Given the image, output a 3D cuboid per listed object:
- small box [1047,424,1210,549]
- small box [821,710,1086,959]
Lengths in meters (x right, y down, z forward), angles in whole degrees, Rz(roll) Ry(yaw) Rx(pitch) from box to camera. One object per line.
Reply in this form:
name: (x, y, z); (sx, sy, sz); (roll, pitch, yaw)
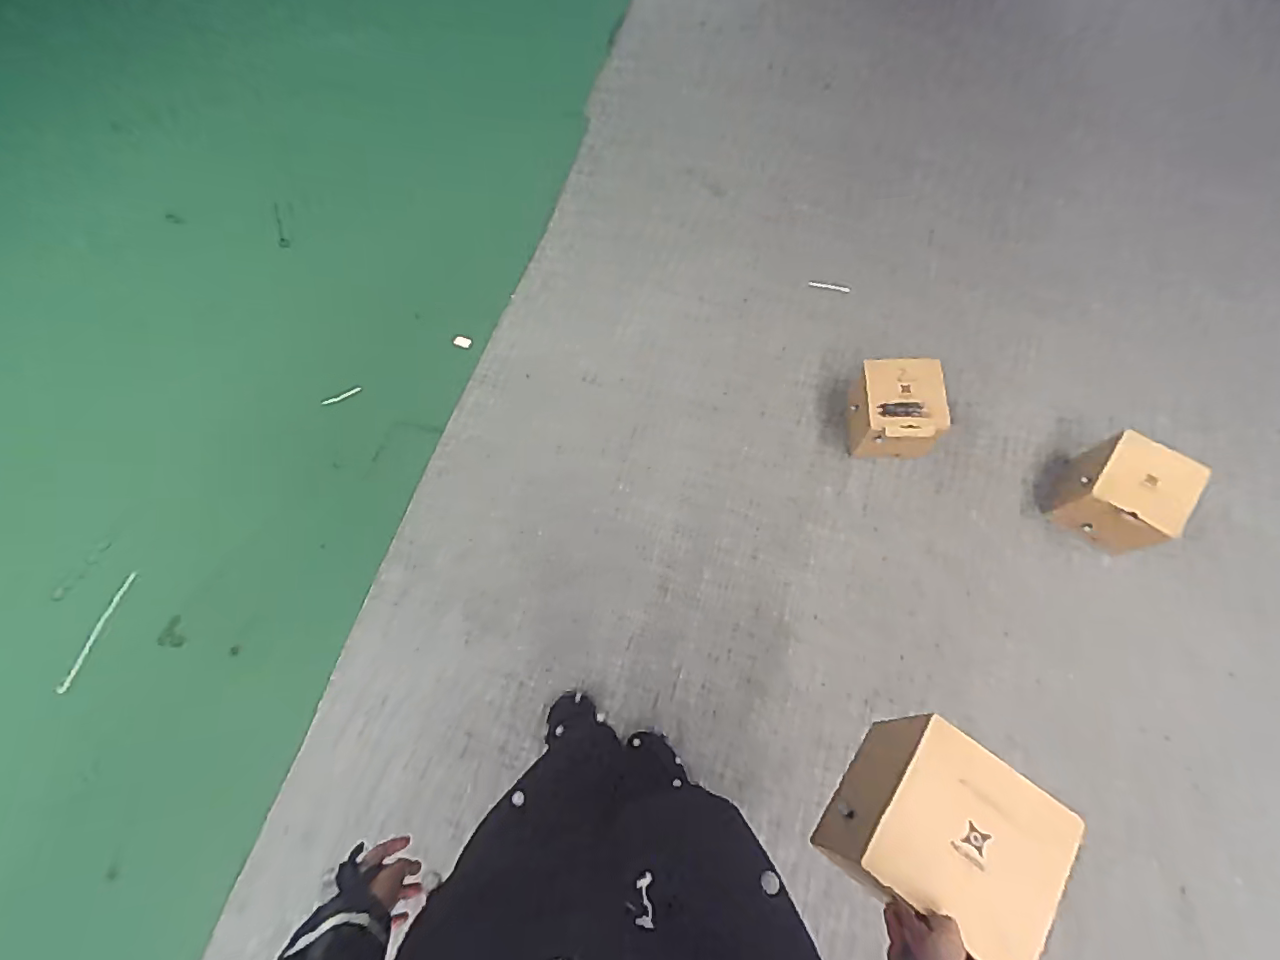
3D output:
small box: (1.014, 0.020, 1.140); (0.168, 0.176, 0.179); (34, 78, 16)
small box: (0.323, 0.386, 0.595); (0.168, 0.176, 0.179); (36, 67, 15)
